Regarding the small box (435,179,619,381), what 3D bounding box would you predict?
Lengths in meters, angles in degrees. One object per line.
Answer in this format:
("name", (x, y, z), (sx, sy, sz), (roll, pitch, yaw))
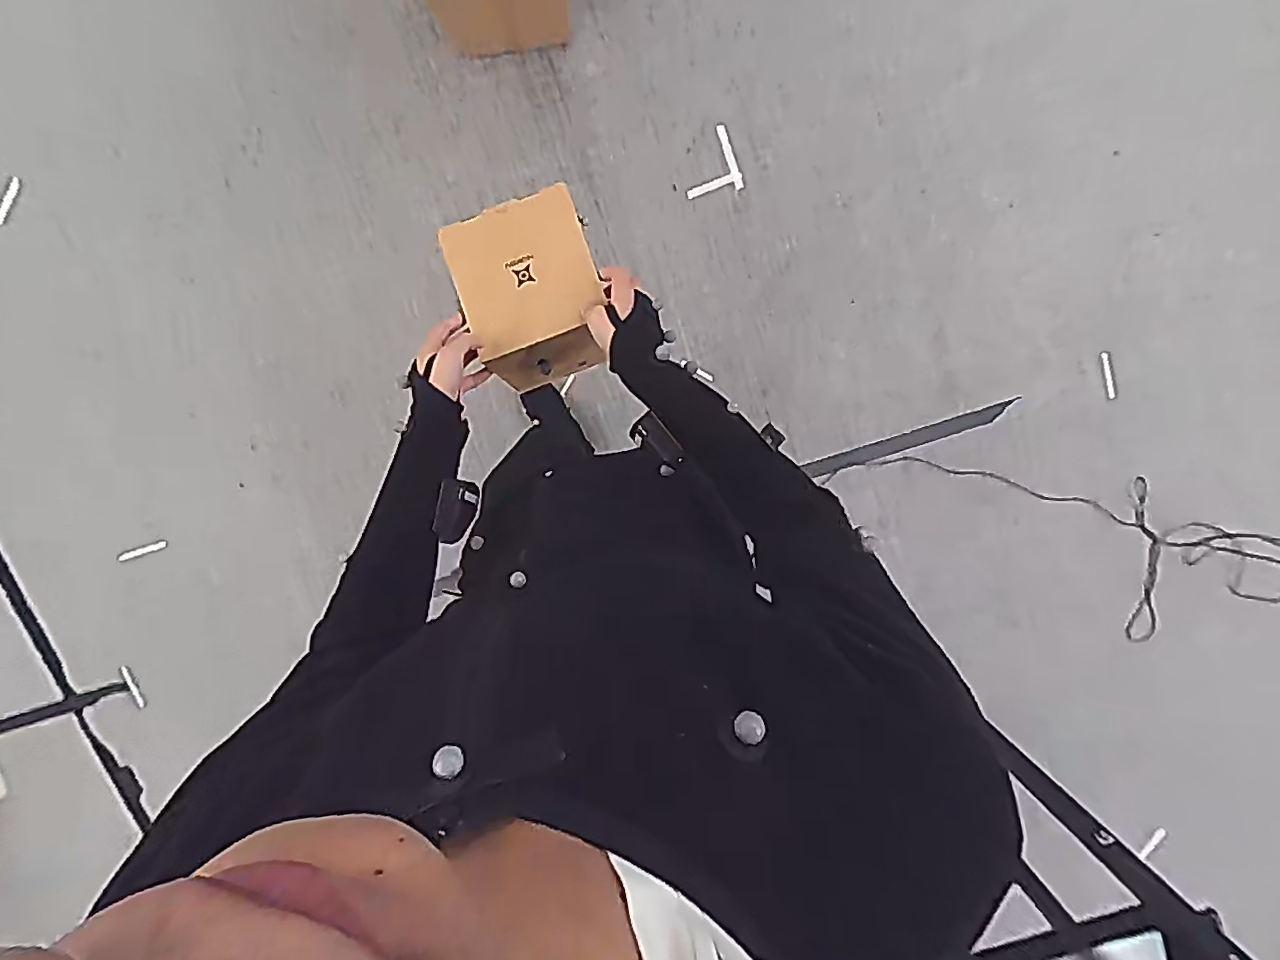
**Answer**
("small box", (-0.134, -0.243, 0.710), (0.168, 0.176, 0.179), (-20, 85, 2))
